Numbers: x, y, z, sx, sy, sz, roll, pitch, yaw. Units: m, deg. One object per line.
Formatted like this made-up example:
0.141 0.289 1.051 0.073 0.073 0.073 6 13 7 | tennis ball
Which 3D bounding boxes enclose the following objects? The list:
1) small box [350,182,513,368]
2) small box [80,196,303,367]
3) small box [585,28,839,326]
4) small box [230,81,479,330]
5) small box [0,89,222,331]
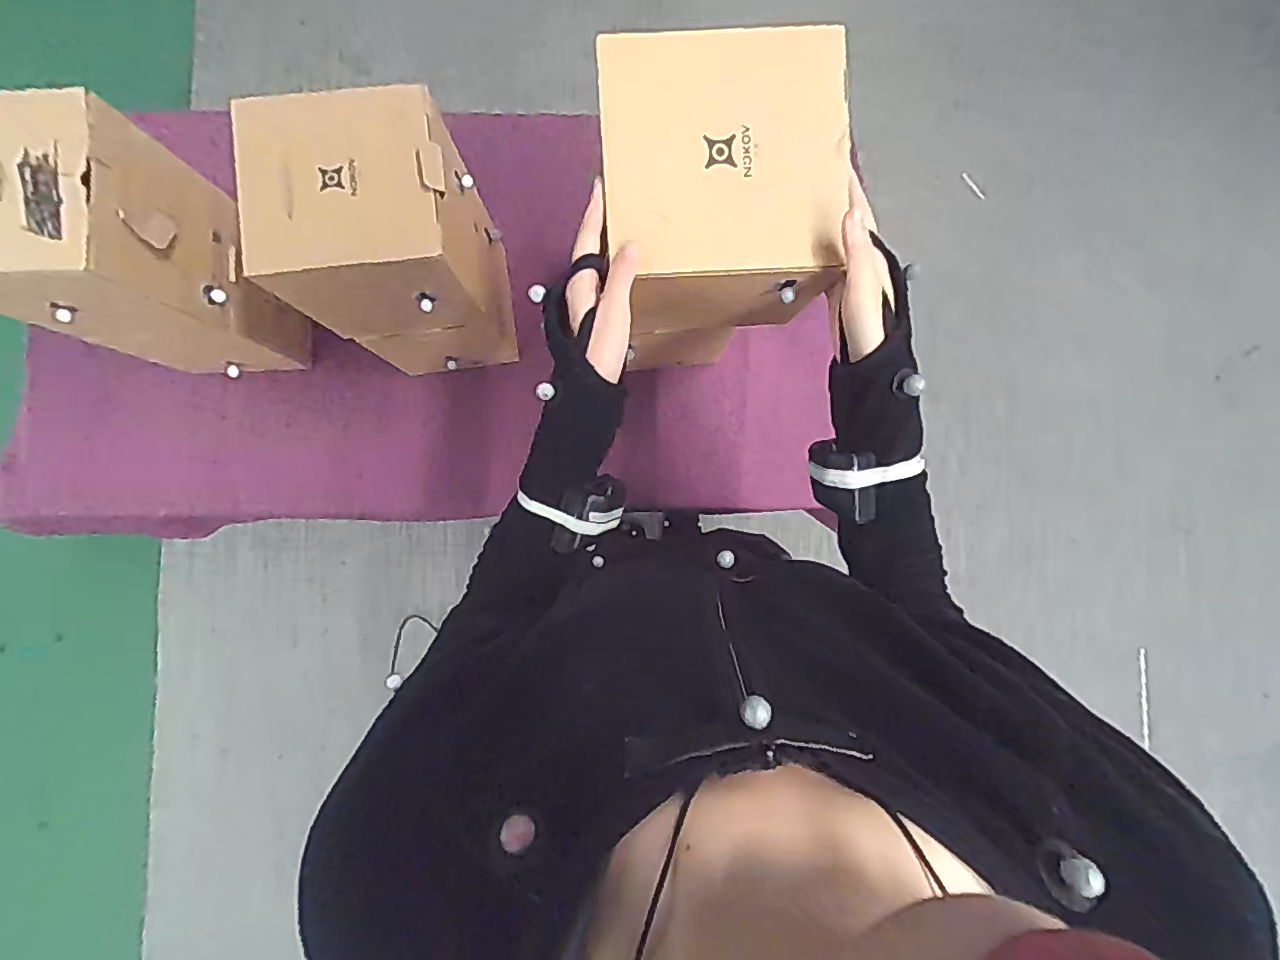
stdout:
-0.276 -0.263 0.726 0.168 0.176 0.179 -8 89 -1 | small box
-0.575 -0.251 0.718 0.179 0.176 0.168 -2 88 -1 | small box
0.051 -0.233 0.459 0.179 0.176 0.168 -3 93 -1 | small box
-0.275 -0.267 0.563 0.179 0.176 0.168 -6 87 -1 | small box
-0.570 -0.258 0.554 0.179 0.176 0.168 -2 88 -1 | small box
